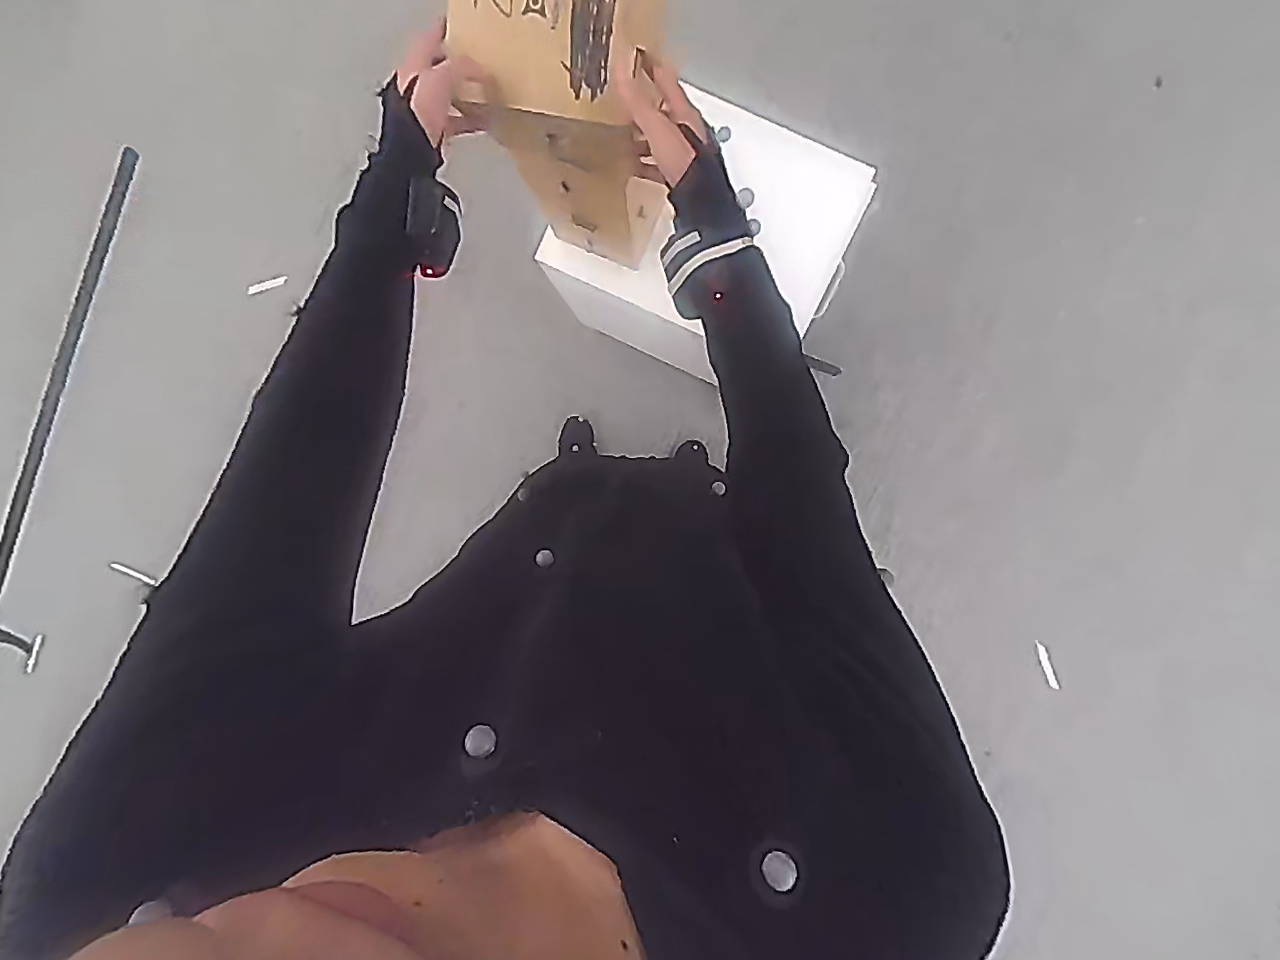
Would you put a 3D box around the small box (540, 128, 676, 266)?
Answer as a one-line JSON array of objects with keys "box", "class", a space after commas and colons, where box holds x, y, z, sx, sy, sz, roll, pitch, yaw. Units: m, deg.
[{"box": [-0.051, -0.491, 0.905, 0.168, 0.176, 0.179, 24, 96, 1], "class": "small box"}]

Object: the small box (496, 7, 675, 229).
[{"box": [-0.063, -0.473, 0.741, 0.179, 0.176, 0.168, 24, 95, 1], "class": "small box"}]
